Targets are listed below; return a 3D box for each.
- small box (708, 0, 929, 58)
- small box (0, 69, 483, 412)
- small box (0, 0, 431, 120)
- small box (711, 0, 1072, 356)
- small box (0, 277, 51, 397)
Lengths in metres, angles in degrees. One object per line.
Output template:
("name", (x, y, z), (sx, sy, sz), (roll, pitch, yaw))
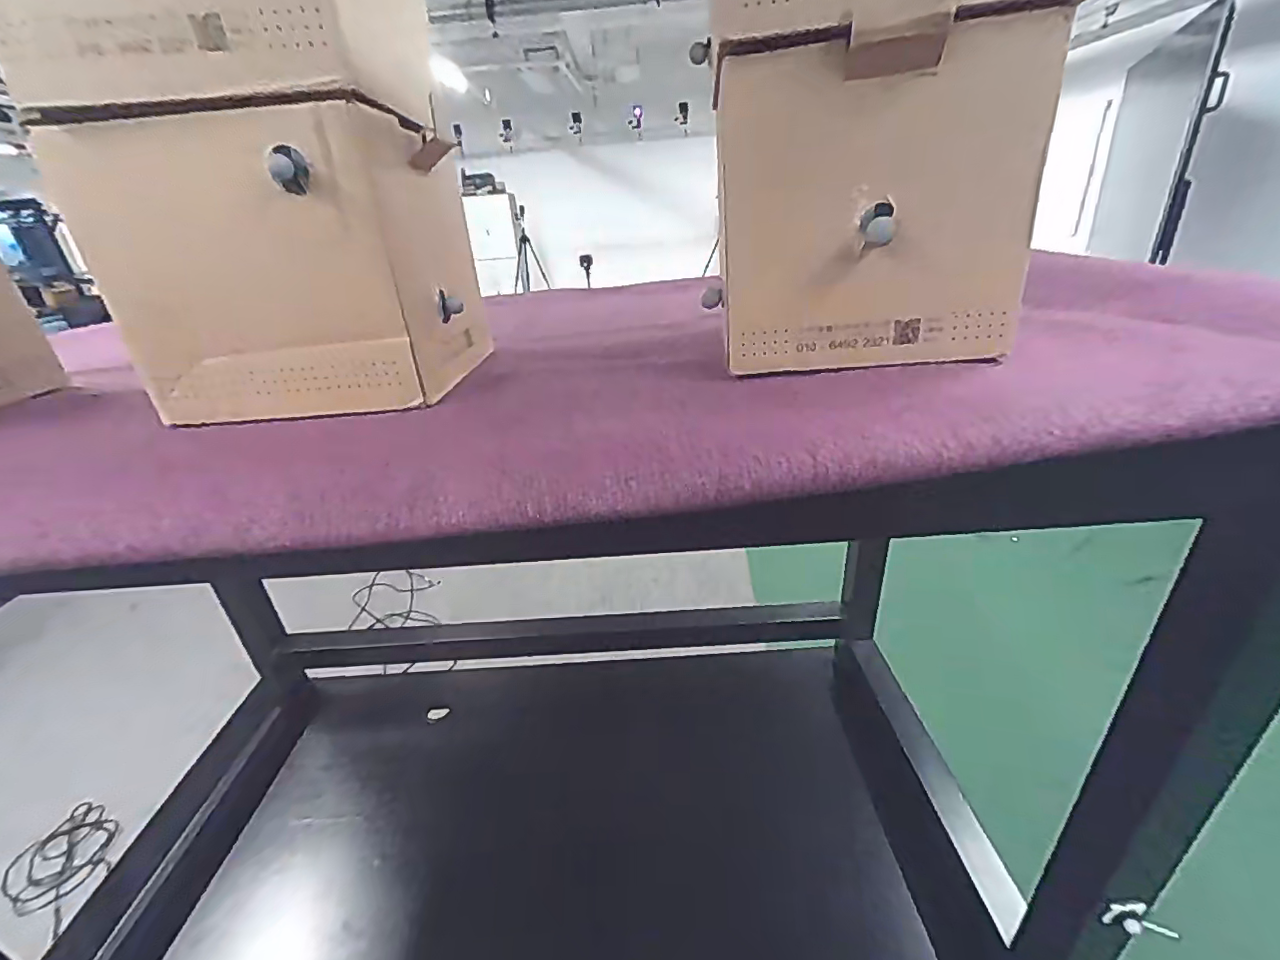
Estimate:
("small box", (0.121, -0.326, 0.281), (0.179, 0.176, 0.168), (-2, 25, 7))
("small box", (-0.226, -0.150, 0.368), (0.179, 0.176, 0.168), (-4, 26, 1))
("small box", (-0.231, -0.295, 0.297), (0.168, 0.176, 0.179), (-3, 25, -1))
("small box", (0.135, -0.182, 0.359), (0.168, 0.176, 0.179), (-2, 26, 8))
("small box", (-0.587, -0.117, 0.358), (0.179, 0.176, 0.168), (-4, 28, 1))
